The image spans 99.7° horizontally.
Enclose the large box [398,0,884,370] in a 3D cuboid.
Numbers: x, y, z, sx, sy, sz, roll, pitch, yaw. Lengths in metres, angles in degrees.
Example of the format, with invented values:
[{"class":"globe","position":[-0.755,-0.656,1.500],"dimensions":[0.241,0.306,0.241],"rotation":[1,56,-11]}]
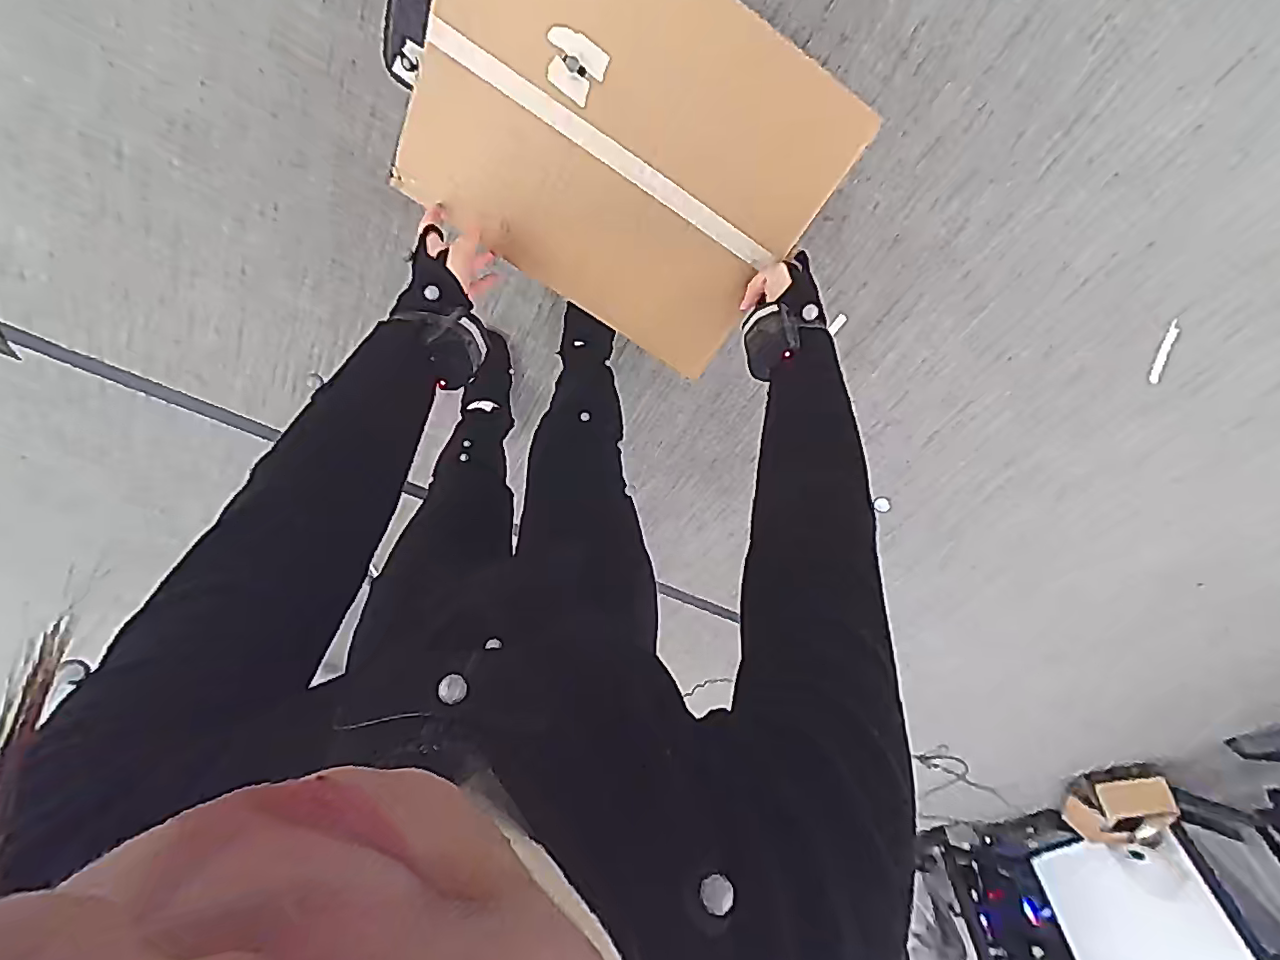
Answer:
[{"class":"large box","position":[0.006,-0.409,0.652],"dimensions":[0.408,0.320,0.320],"rotation":[31,125,-10]}]
